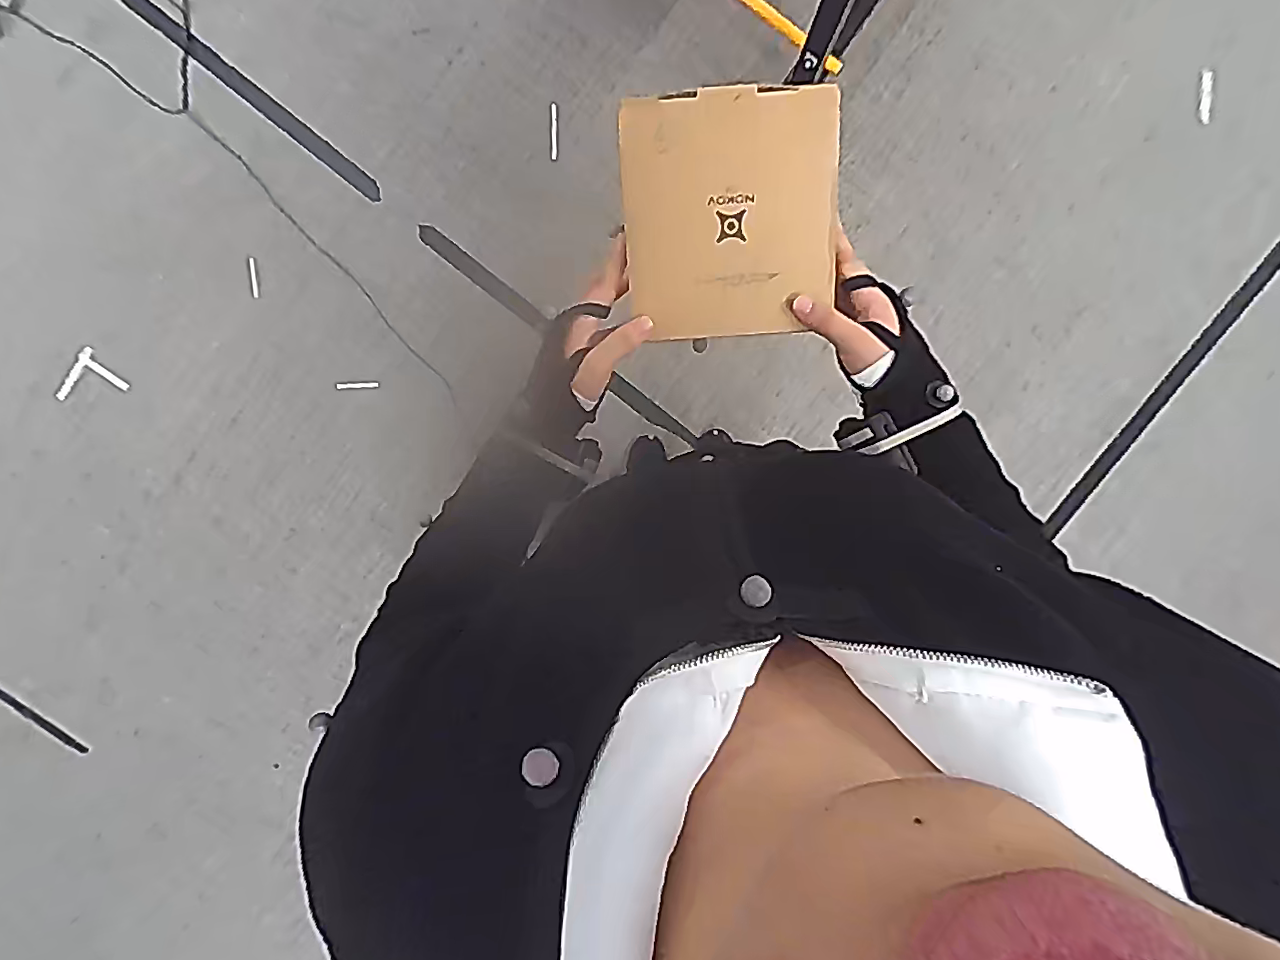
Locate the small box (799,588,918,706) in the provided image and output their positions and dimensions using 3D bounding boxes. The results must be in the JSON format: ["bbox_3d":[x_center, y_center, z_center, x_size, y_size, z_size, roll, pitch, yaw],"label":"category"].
[{"bbox_3d":[0.500,0.381,1.269,0.168,0.176,0.179,35,96,-2],"label":"small box"}]

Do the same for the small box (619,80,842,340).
[{"bbox_3d":[0.067,-0.221,0.487,0.168,0.176,0.179,-4,106,0],"label":"small box"}]
